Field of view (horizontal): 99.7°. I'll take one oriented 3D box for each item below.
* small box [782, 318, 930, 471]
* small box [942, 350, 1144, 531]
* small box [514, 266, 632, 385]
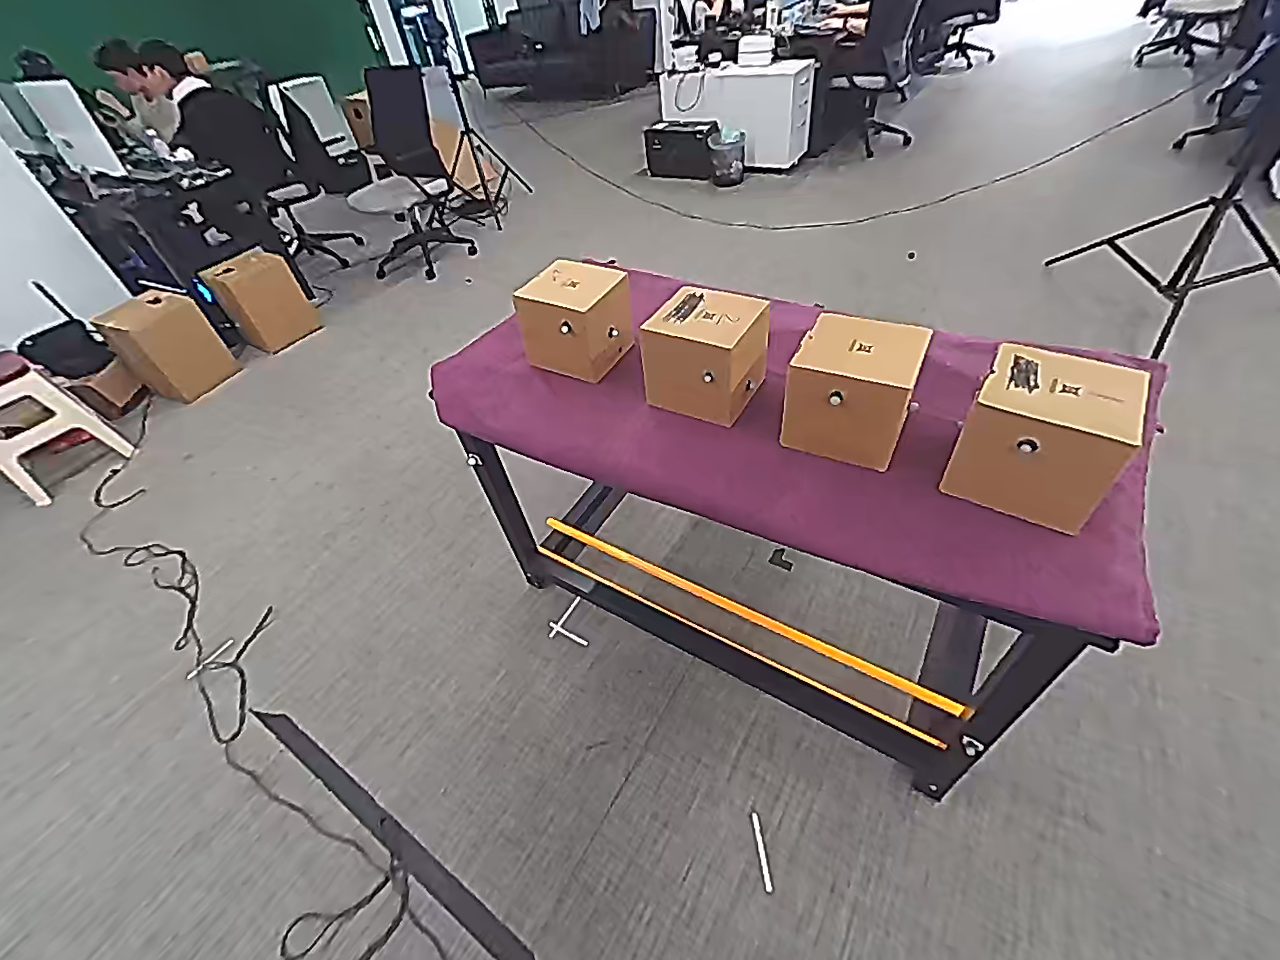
[{"bbox_3d":[0.346,-0.138,0.885,0.179,0.176,0.168,18,51,25],"label":"small box"},{"bbox_3d":[0.556,-0.056,0.764,0.179,0.176,0.168,23,52,28],"label":"small box"},{"bbox_3d":[-0.129,-0.323,1.137,0.179,0.176,0.168,20,51,23],"label":"small box"}]
